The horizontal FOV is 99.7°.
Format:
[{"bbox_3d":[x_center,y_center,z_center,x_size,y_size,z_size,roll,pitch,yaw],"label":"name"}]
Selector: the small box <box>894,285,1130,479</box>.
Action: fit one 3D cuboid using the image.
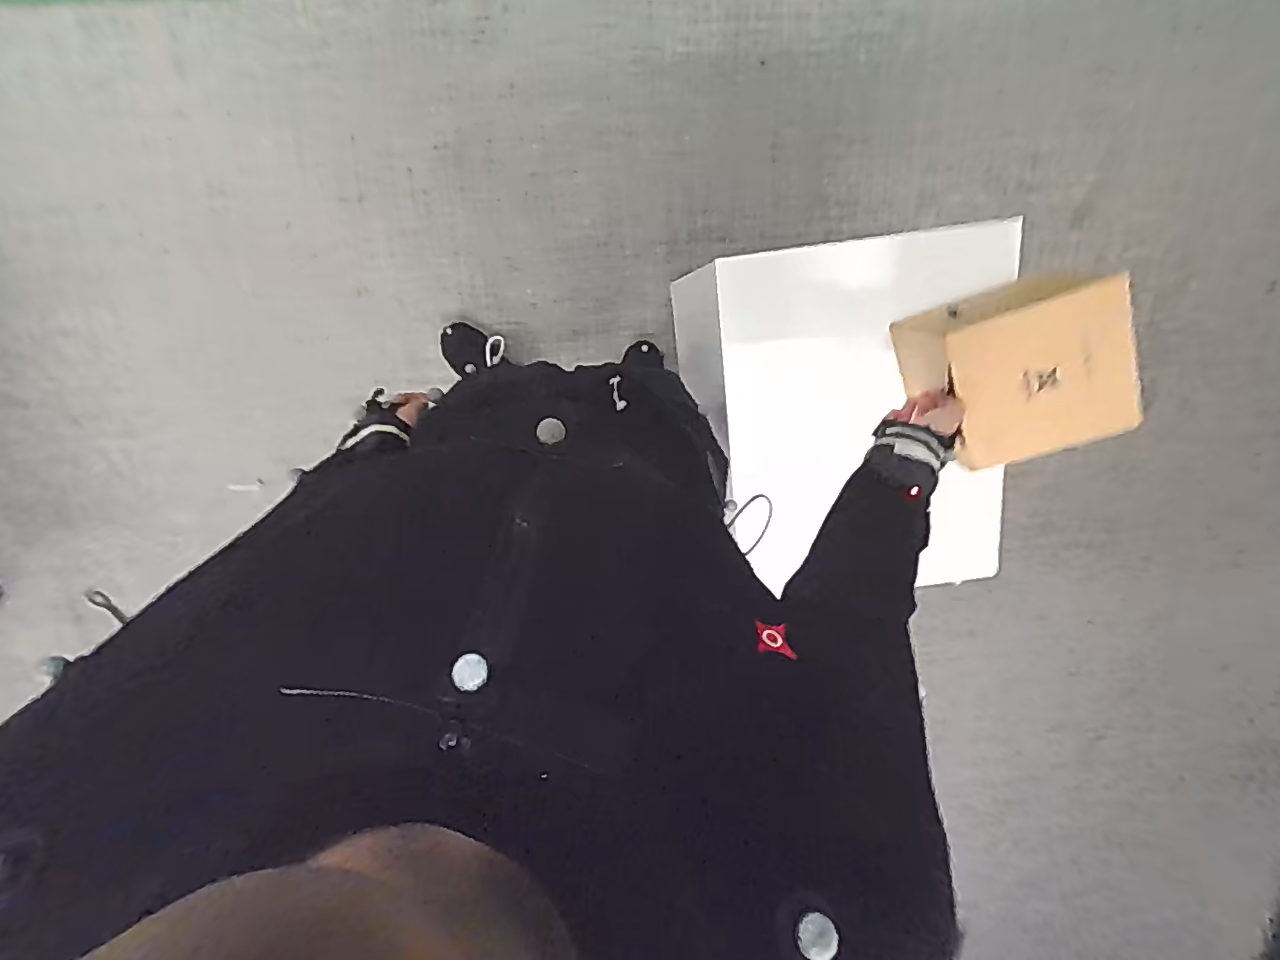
[{"bbox_3d":[0.426,-0.123,0.649,0.179,0.176,0.168,-18,108,10],"label":"small box"}]
